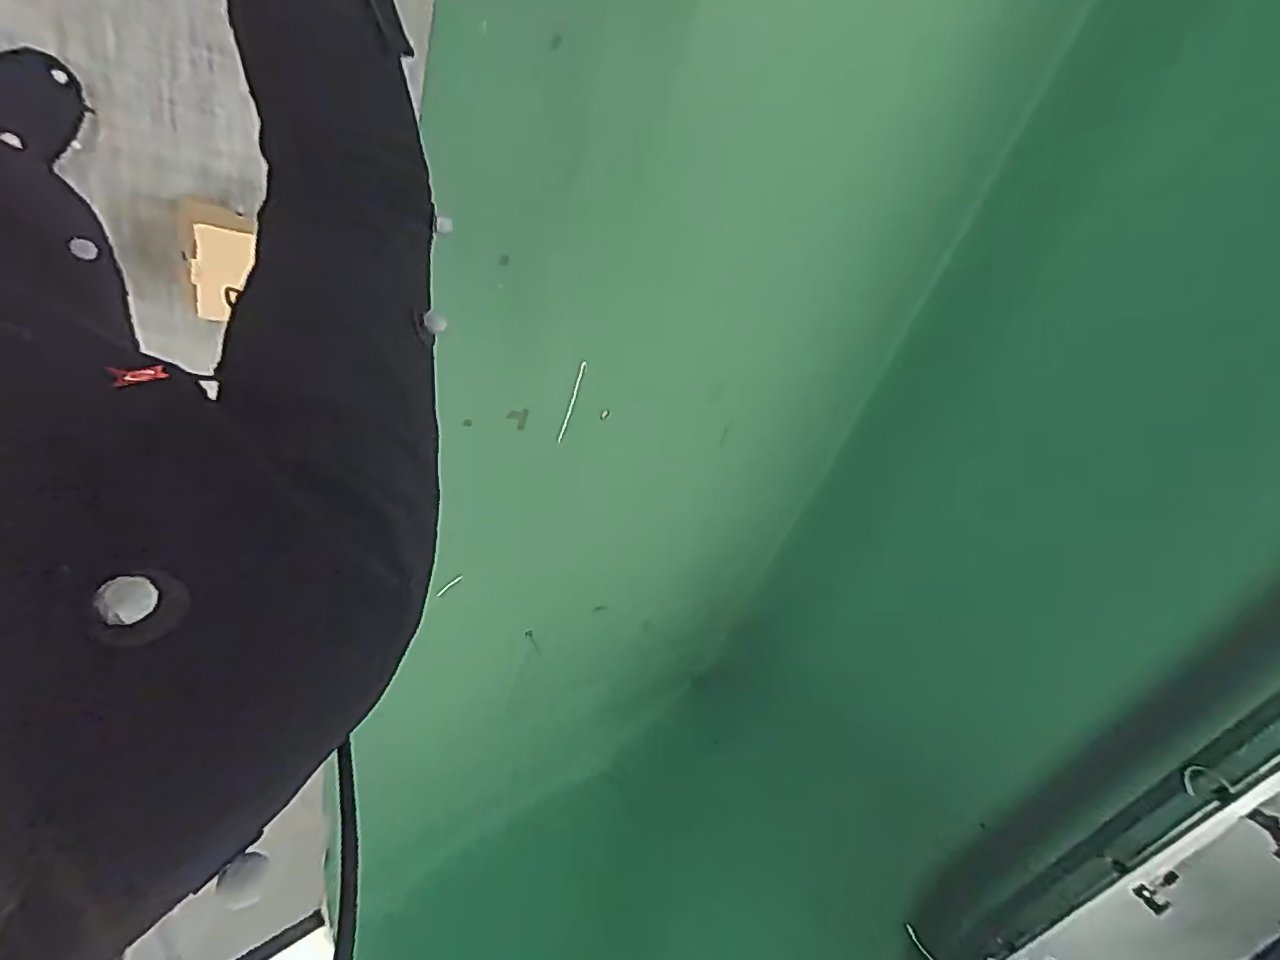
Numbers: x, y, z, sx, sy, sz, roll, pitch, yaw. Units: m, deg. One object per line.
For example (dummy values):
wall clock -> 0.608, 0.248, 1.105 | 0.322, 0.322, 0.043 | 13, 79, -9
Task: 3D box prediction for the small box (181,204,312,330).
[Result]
small box -> -0.746, -0.402, 1.021 | 0.179, 0.176, 0.168 | -7, 128, -45
